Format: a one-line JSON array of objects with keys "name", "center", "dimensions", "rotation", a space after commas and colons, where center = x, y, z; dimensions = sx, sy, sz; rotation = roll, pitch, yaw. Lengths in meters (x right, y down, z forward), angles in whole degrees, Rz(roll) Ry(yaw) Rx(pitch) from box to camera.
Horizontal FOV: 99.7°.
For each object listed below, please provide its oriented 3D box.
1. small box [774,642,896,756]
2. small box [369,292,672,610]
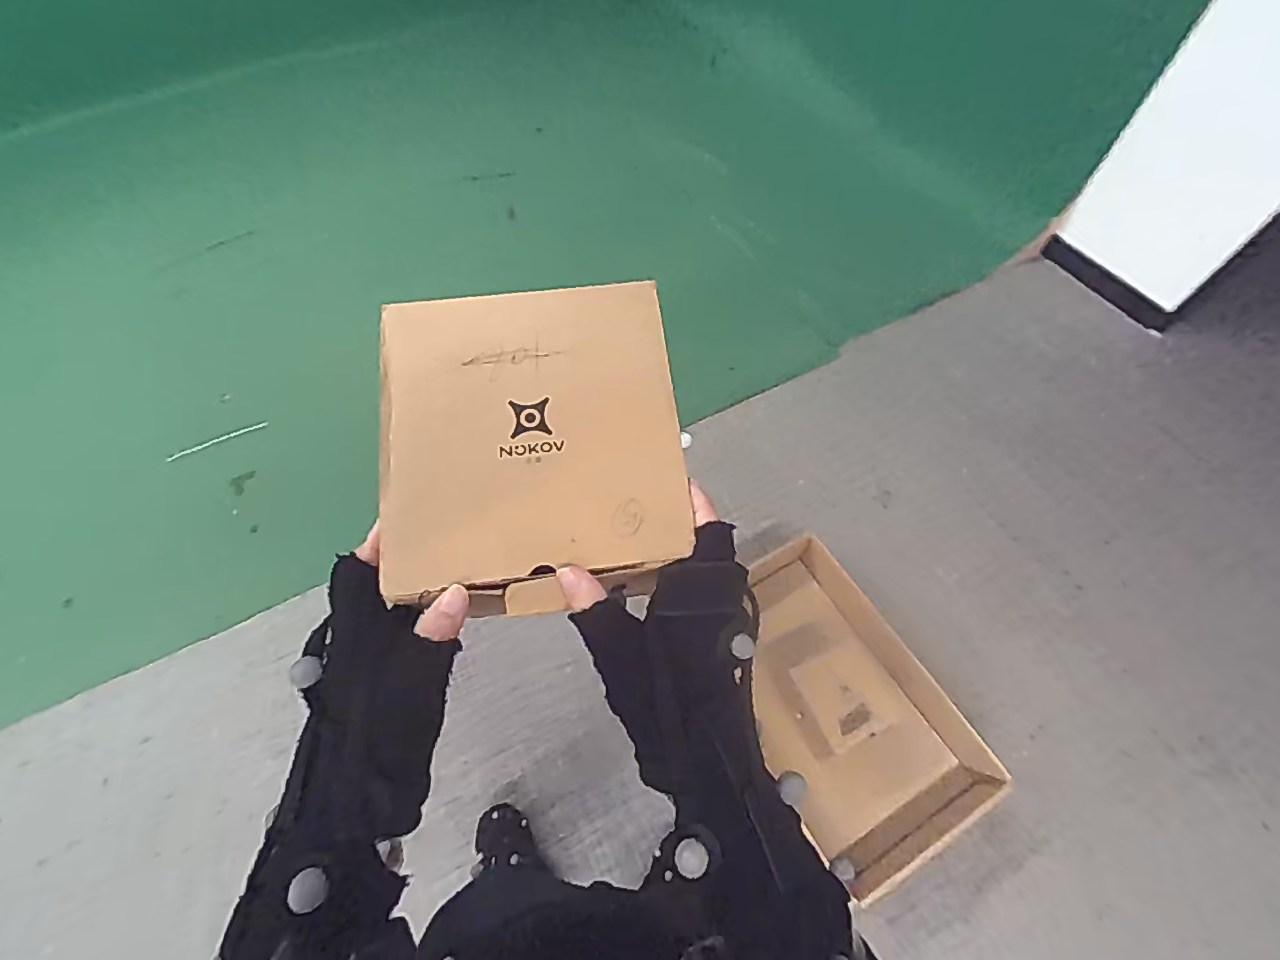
[{"name": "small box", "center": [0.413, 0.483, 1.179], "dimensions": [0.168, 0.176, 0.179], "rotation": [-21, 59, -10]}, {"name": "small box", "center": [-0.074, -0.005, 0.389], "dimensions": [0.168, 0.176, 0.179], "rotation": [-7, 73, -4]}]
